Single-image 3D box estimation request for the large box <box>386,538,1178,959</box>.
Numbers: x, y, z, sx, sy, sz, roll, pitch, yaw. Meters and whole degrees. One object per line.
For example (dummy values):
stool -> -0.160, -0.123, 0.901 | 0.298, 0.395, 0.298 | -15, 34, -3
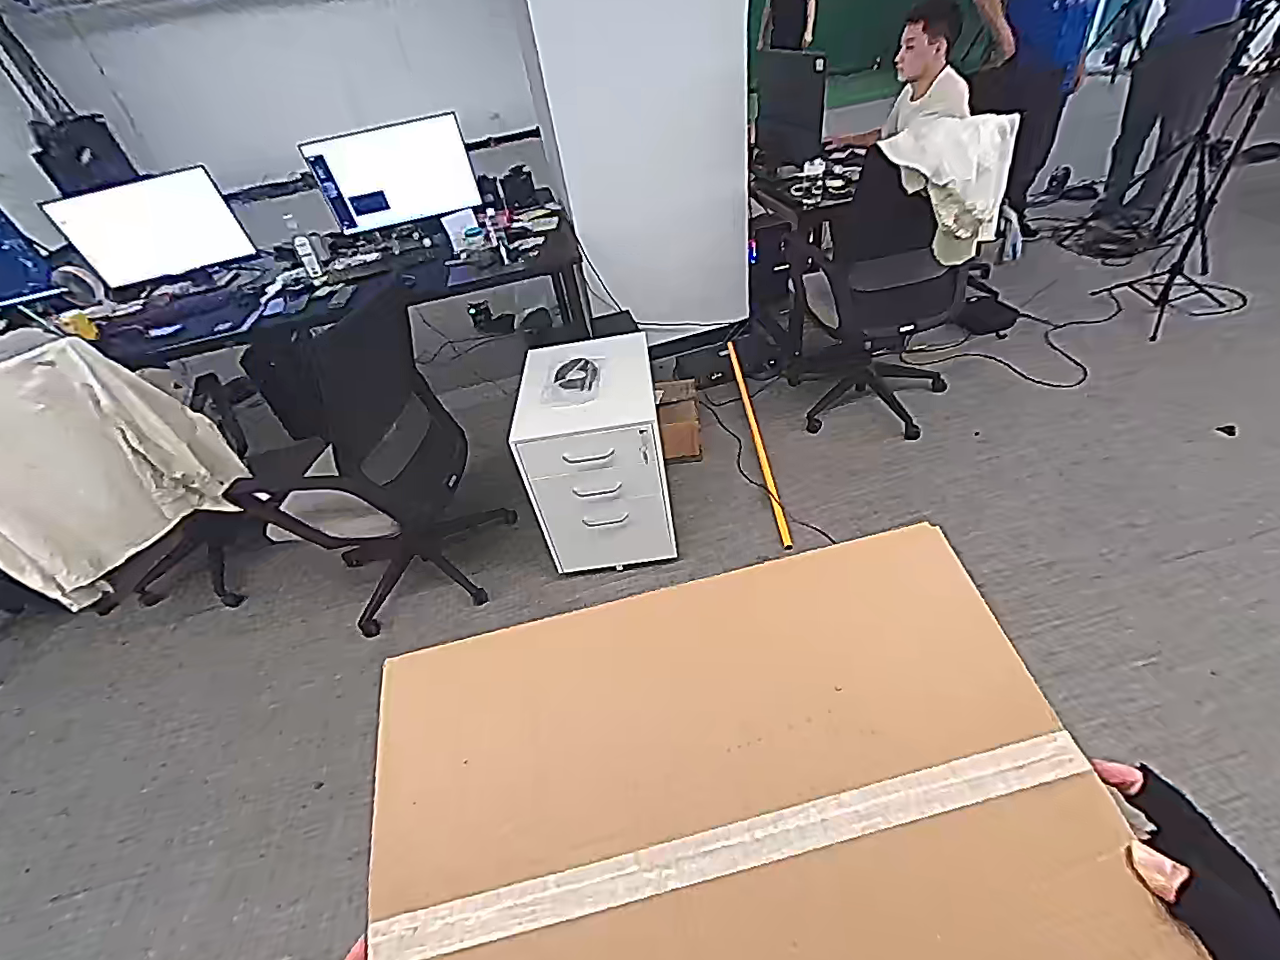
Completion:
large box -> 0.069, 0.293, 0.430 | 0.408, 0.320, 0.320 | -14, 54, -2
